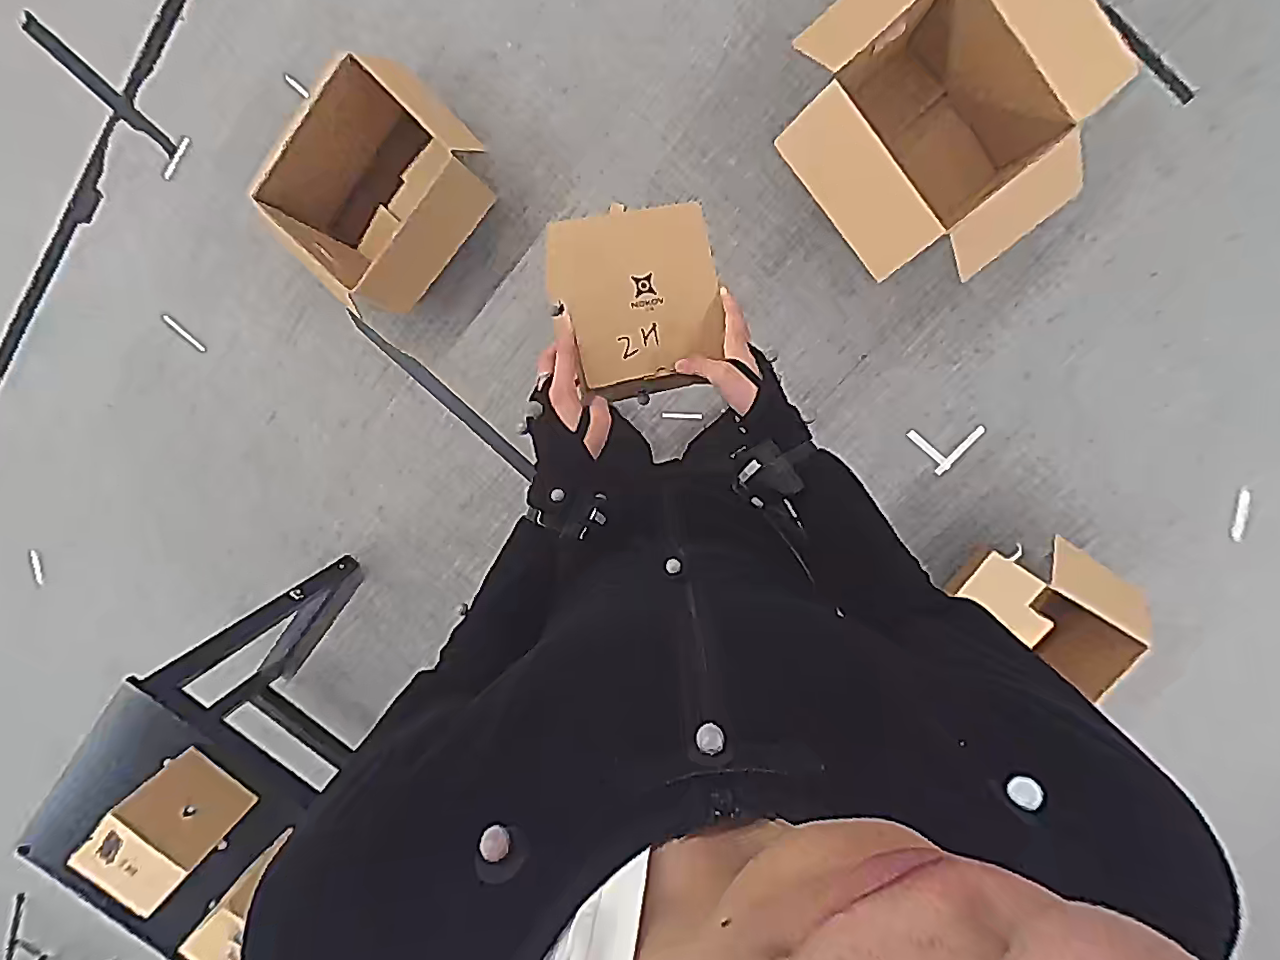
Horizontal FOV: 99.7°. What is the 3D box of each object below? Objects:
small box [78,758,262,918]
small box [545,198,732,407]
[{"bbox_3d":[-0.899,0.679,1.051,0.179,0.176,0.168,43,104,-6],"label":"small box"},{"bbox_3d":[-0.014,-0.195,0.637,0.168,0.176,0.179,-15,93,-10],"label":"small box"}]
